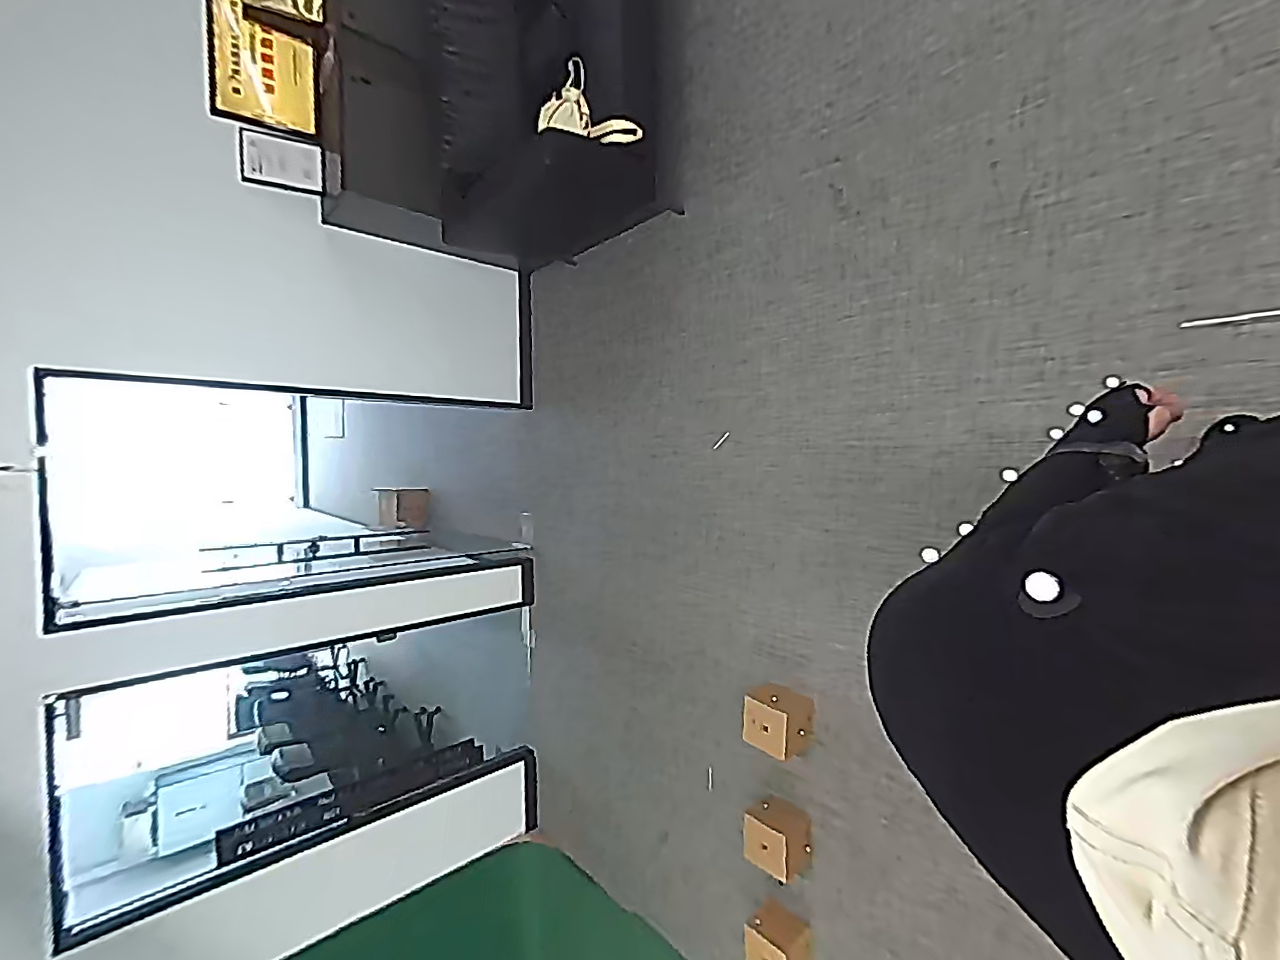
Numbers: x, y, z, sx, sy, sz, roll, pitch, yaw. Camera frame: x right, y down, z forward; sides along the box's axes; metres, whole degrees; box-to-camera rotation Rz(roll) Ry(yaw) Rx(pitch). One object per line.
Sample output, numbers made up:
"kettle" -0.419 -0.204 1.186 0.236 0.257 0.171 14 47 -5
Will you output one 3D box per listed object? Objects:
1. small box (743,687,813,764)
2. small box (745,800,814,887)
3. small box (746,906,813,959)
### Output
"small box" 0.484 0.845 1.886 0.179 0.176 0.168 7 96 48
"small box" 0.488 1.264 1.899 0.179 0.176 0.168 1 92 49
"small box" 0.495 1.664 1.904 0.179 0.176 0.168 0 92 50
